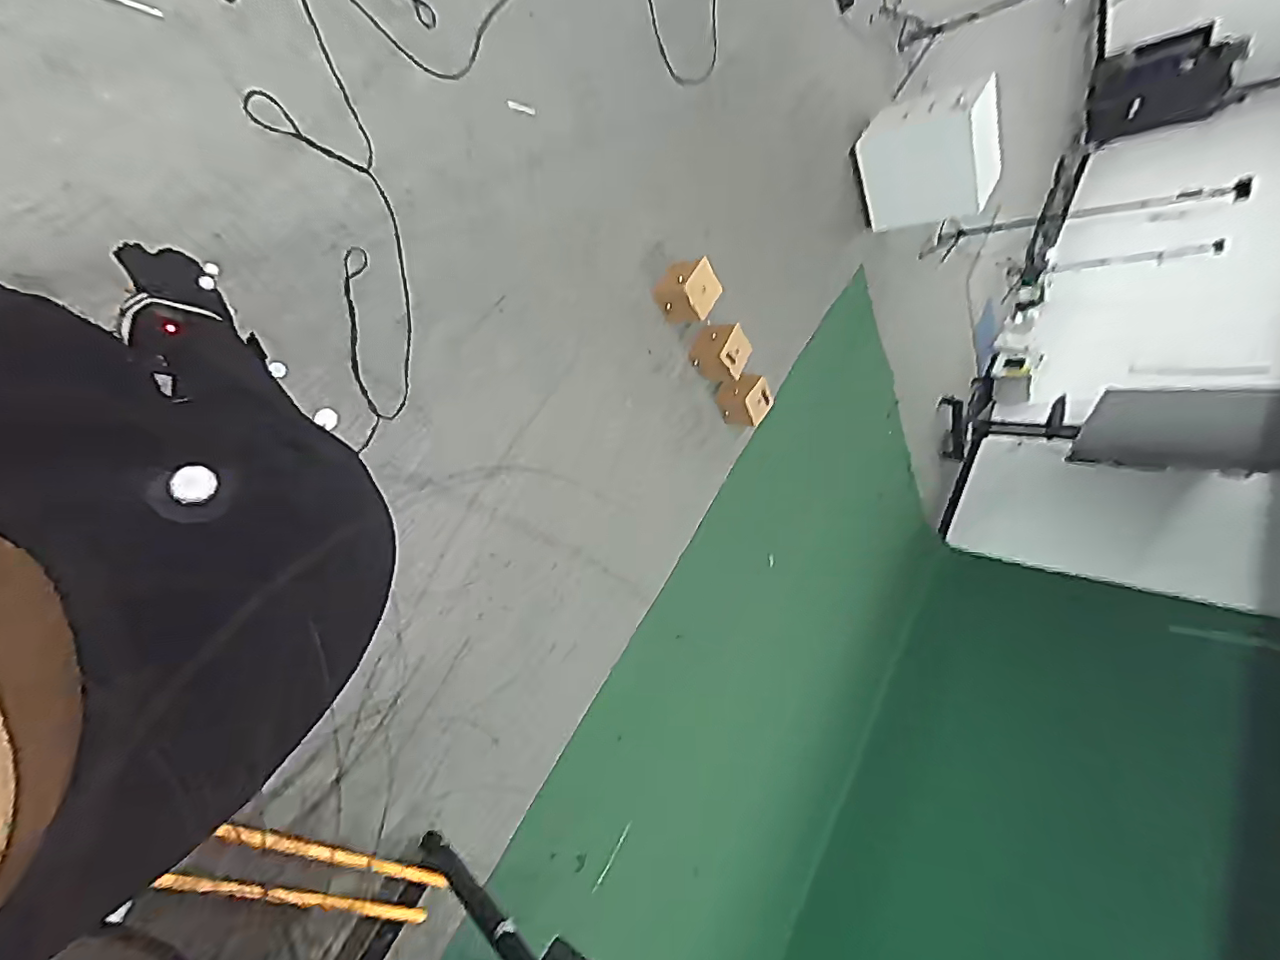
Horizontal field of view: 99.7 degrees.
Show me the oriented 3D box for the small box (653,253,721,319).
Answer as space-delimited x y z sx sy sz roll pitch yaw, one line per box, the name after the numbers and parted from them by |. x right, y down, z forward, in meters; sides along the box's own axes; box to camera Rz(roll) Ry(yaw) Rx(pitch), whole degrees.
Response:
0.178 -0.739 2.076 0.168 0.176 0.179 47 66 -40 | small box

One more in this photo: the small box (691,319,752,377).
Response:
0.337 -0.553 2.279 0.168 0.176 0.179 43 68 -42 | small box
